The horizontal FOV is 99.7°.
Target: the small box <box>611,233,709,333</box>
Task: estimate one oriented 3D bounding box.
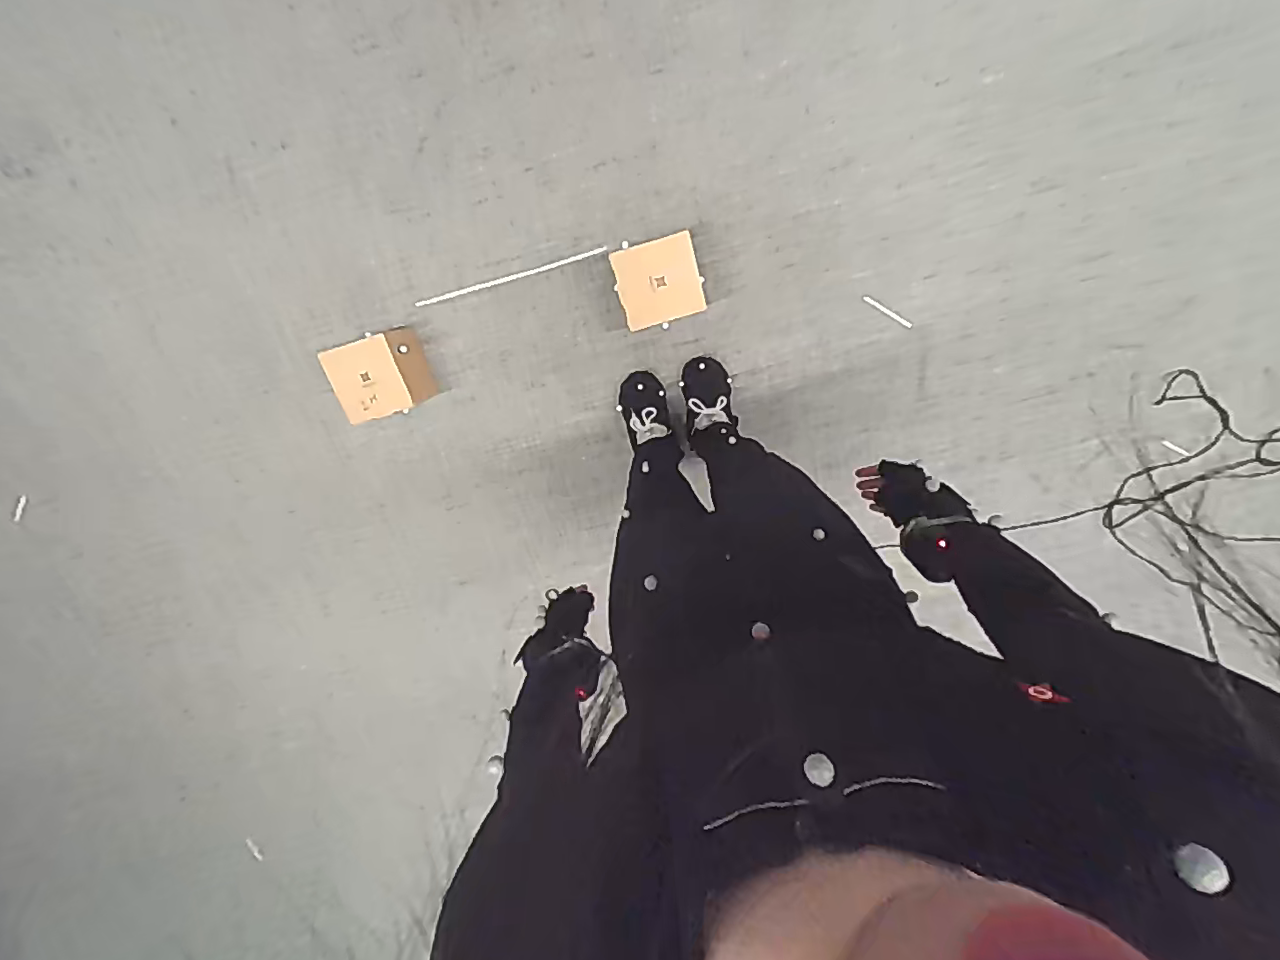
[{"bbox_3d":[0.043,-0.440,1.207,0.179,0.176,0.168,-15,110,7],"label":"small box"}]

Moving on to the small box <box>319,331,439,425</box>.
[{"bbox_3d":[-0.611,-0.251,1.290,0.168,0.176,0.179,-15,110,7],"label":"small box"}]
